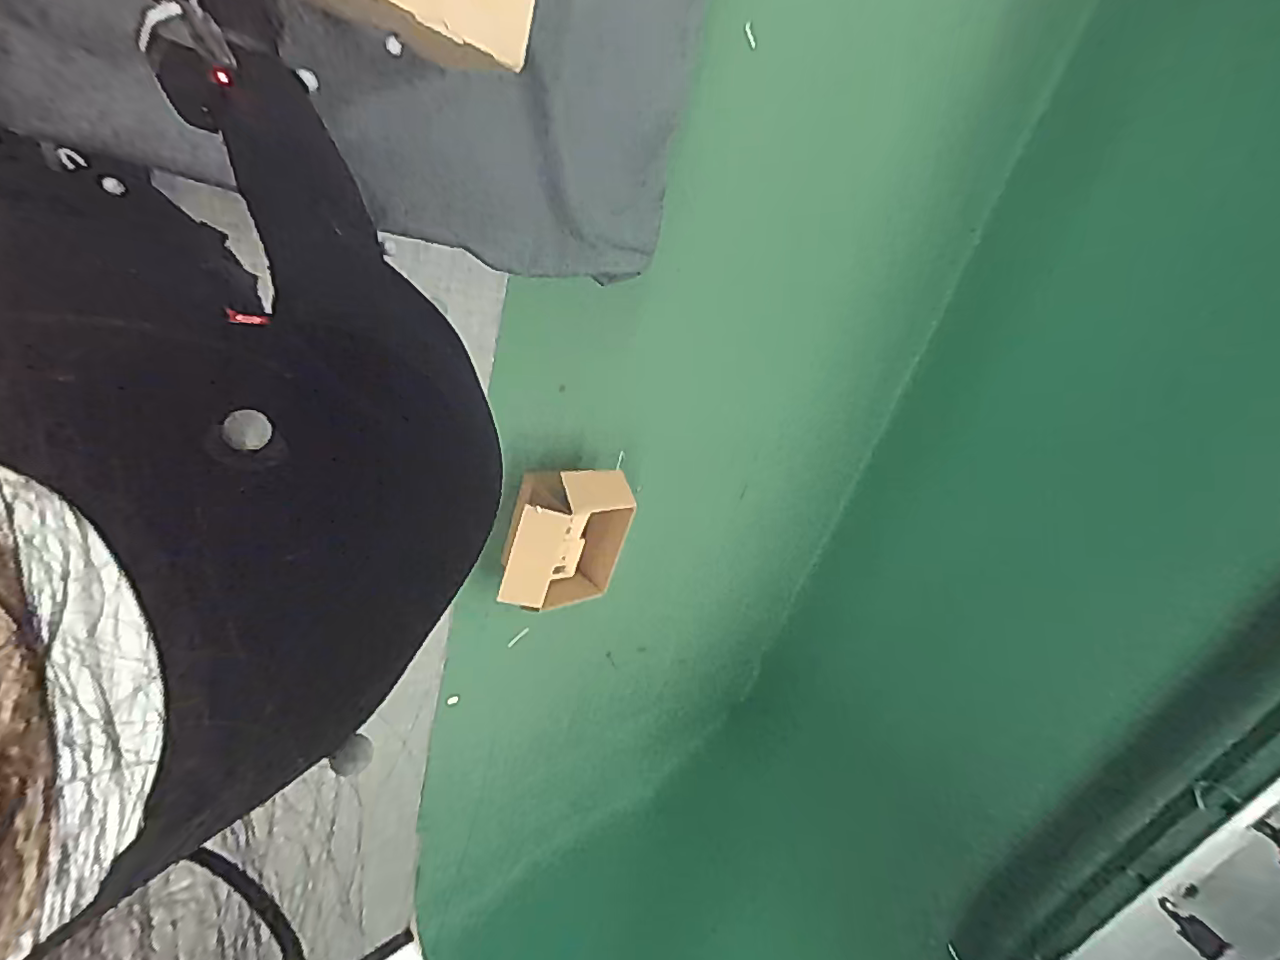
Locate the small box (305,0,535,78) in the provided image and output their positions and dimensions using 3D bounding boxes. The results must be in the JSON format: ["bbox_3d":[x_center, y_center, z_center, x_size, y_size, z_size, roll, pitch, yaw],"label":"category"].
[{"bbox_3d":[-0.204,-0.508,0.497,0.168,0.176,0.179,-5,122,-44],"label":"small box"}]
